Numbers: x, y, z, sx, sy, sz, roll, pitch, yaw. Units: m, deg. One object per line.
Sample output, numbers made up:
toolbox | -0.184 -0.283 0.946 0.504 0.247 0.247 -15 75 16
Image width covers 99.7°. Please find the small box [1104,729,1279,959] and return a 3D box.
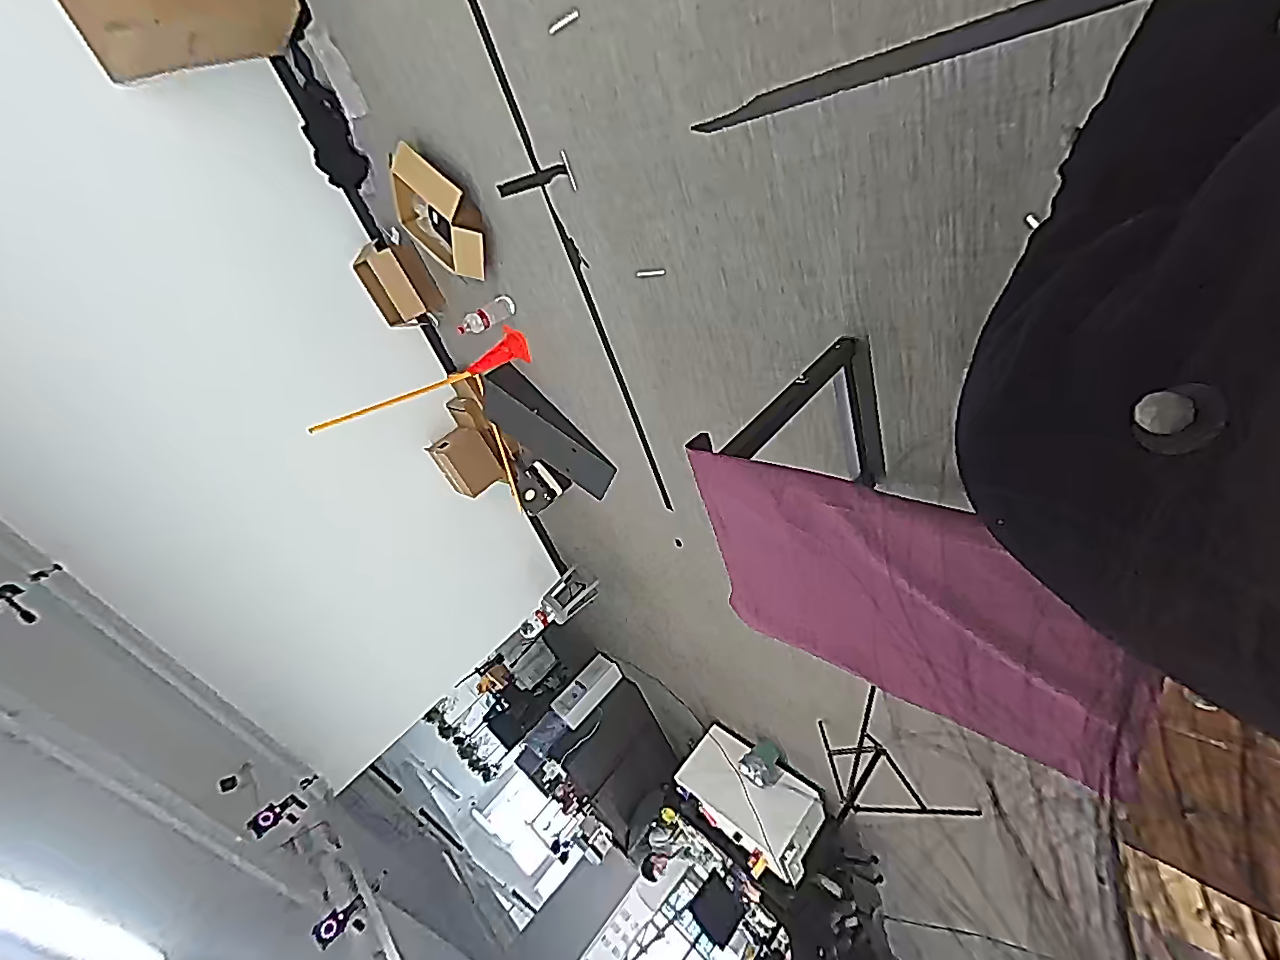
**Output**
small box | 0.673 0.424 0.625 0.179 0.176 0.168 12 137 47

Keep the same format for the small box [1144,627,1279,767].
small box | 0.779 0.328 0.701 0.168 0.176 0.179 13 136 47
